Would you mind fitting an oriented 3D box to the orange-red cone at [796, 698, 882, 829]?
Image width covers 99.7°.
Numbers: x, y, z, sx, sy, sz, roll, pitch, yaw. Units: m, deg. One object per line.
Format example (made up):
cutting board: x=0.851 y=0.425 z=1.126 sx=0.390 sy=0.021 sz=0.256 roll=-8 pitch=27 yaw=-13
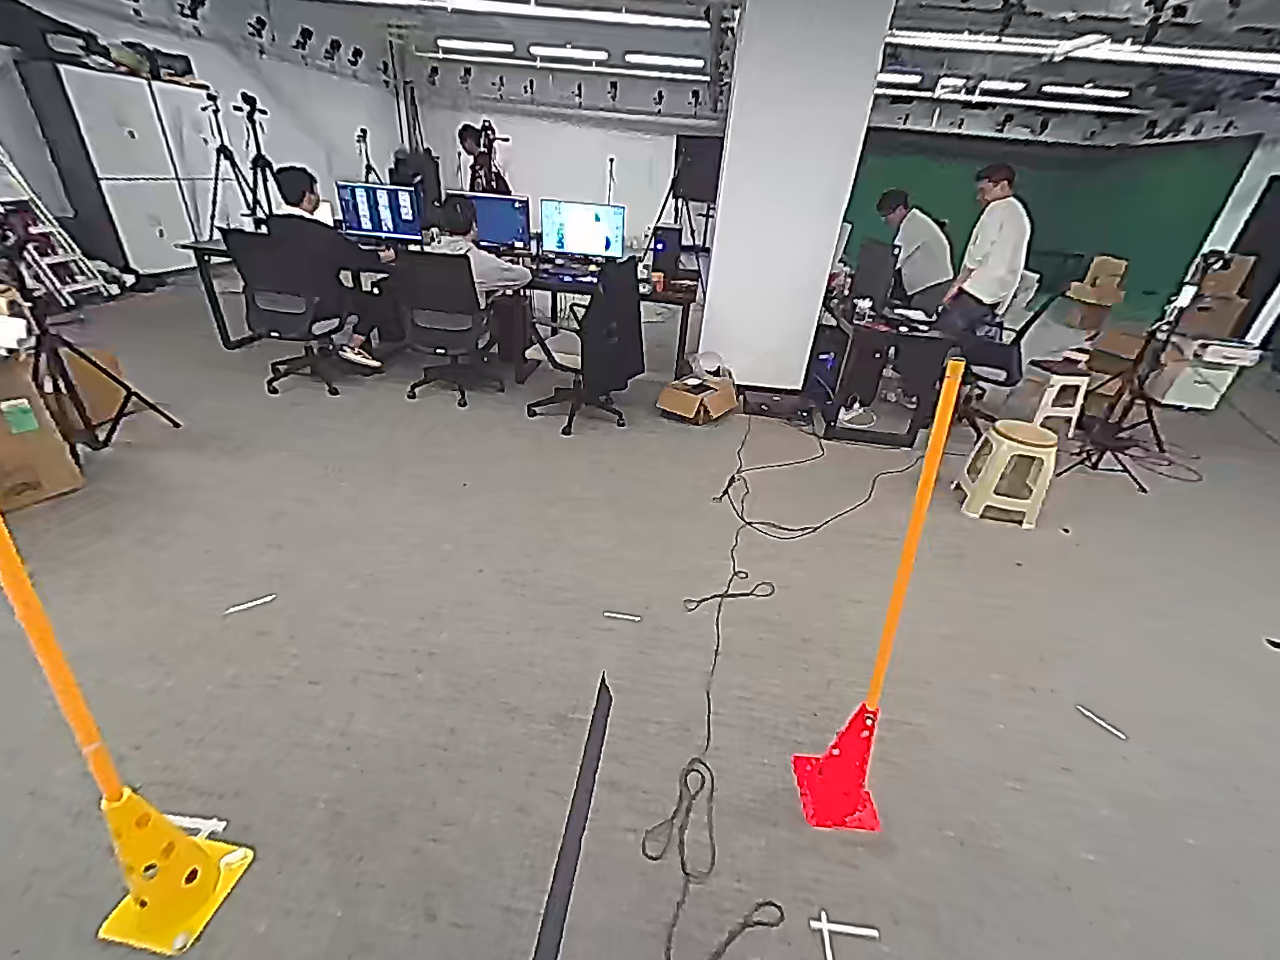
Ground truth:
orange-red cone: x=0.547 y=0.696 z=1.389 sx=0.199 sy=0.360 sz=0.198 roll=4 pitch=29 yaw=1
